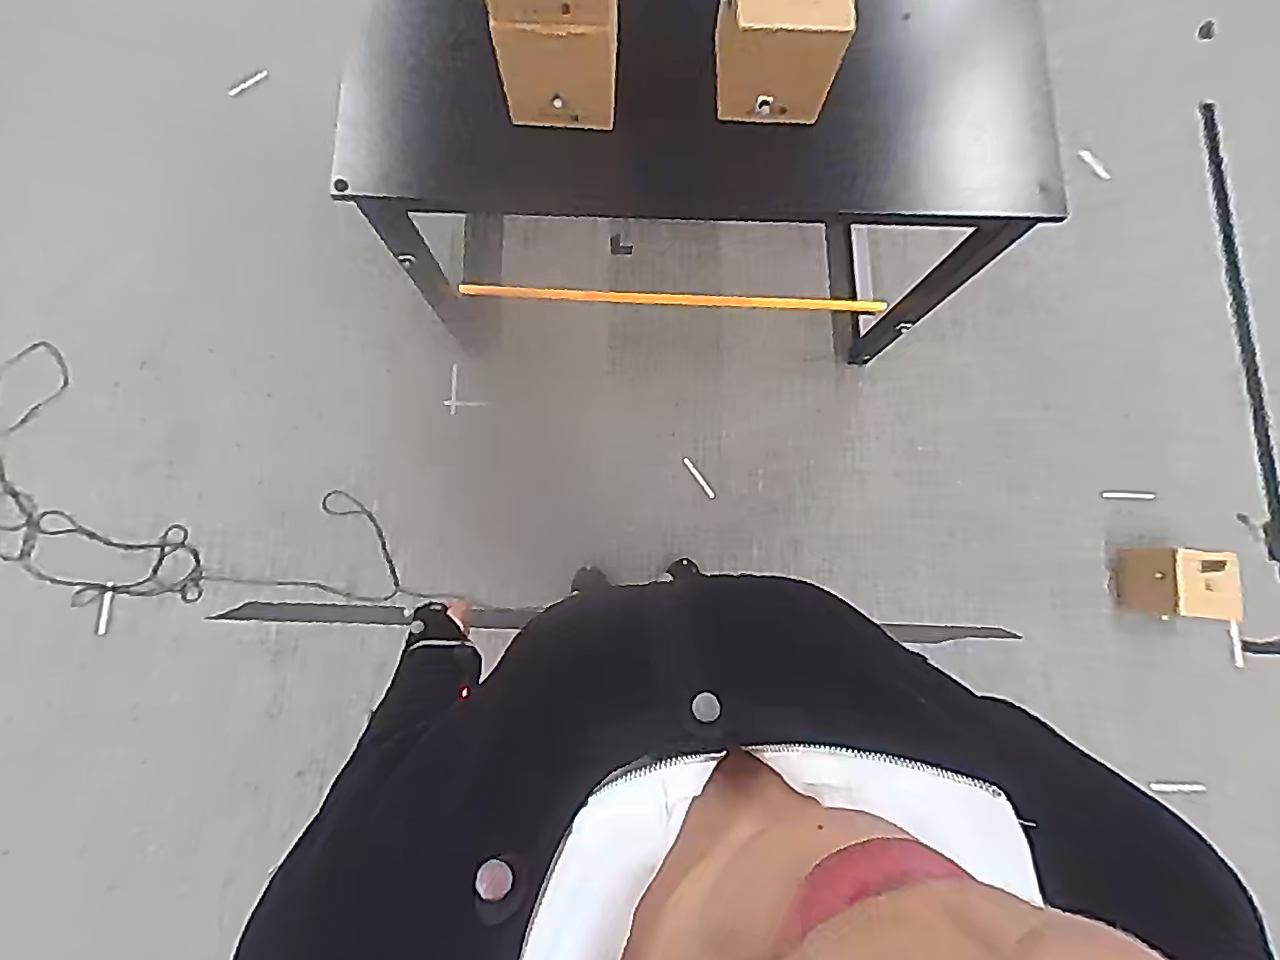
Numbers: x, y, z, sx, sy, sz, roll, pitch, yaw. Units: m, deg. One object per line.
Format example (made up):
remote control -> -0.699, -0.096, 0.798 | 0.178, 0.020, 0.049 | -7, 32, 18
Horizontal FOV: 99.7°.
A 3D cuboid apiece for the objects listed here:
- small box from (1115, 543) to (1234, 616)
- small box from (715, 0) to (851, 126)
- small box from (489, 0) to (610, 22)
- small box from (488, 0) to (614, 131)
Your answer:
small box -> 1.454, 0.270, 1.481 | 0.168, 0.176, 0.179 | 5, 82, -1
small box -> 0.211, -0.698, 0.845 | 0.168, 0.176, 0.179 | -1, 82, -1
small box -> -0.121, -0.714, 0.665 | 0.168, 0.176, 0.179 | -1, 82, -3
small box -> -0.125, -0.679, 0.826 | 0.168, 0.176, 0.179 | 2, 81, -2
